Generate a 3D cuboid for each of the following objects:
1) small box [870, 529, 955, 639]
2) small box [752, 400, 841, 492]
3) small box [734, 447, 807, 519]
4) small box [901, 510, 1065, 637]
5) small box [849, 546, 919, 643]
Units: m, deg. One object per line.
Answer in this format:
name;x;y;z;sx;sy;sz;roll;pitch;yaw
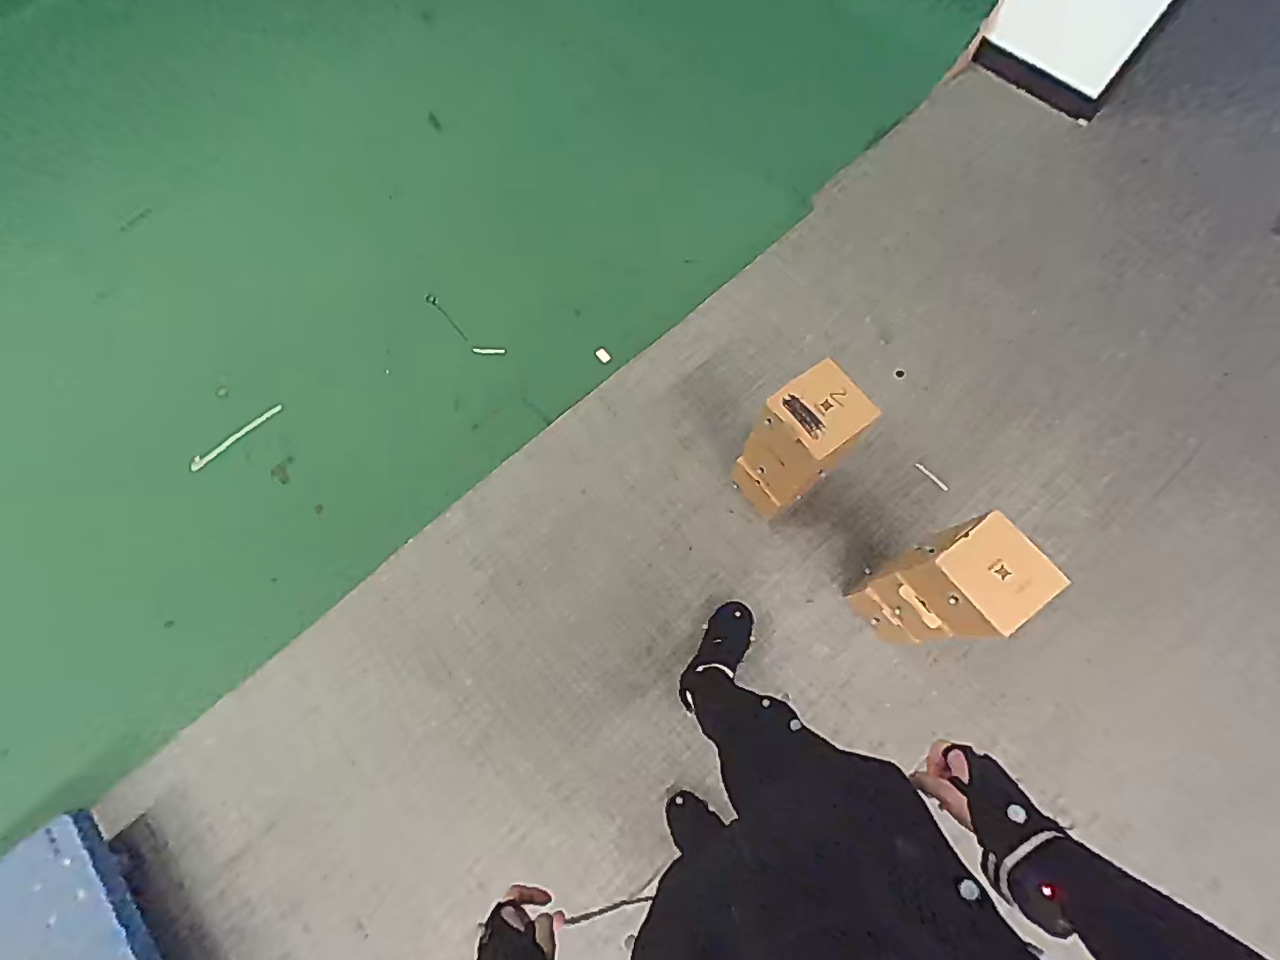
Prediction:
small box;0.656;0.237;1.213;0.179;0.176;0.168;-34;73;-8
small box;0.379;-0.079;1.342;0.168;0.176;0.179;-6;71;3
small box;0.373;-0.017;1.485;0.179;0.176;0.168;-36;74;-10
small box;0.653;0.191;1.056;0.168;0.176;0.179;-35;73;-8
small box;0.656;0.295;1.367;0.179;0.176;0.168;-39;74;-9
